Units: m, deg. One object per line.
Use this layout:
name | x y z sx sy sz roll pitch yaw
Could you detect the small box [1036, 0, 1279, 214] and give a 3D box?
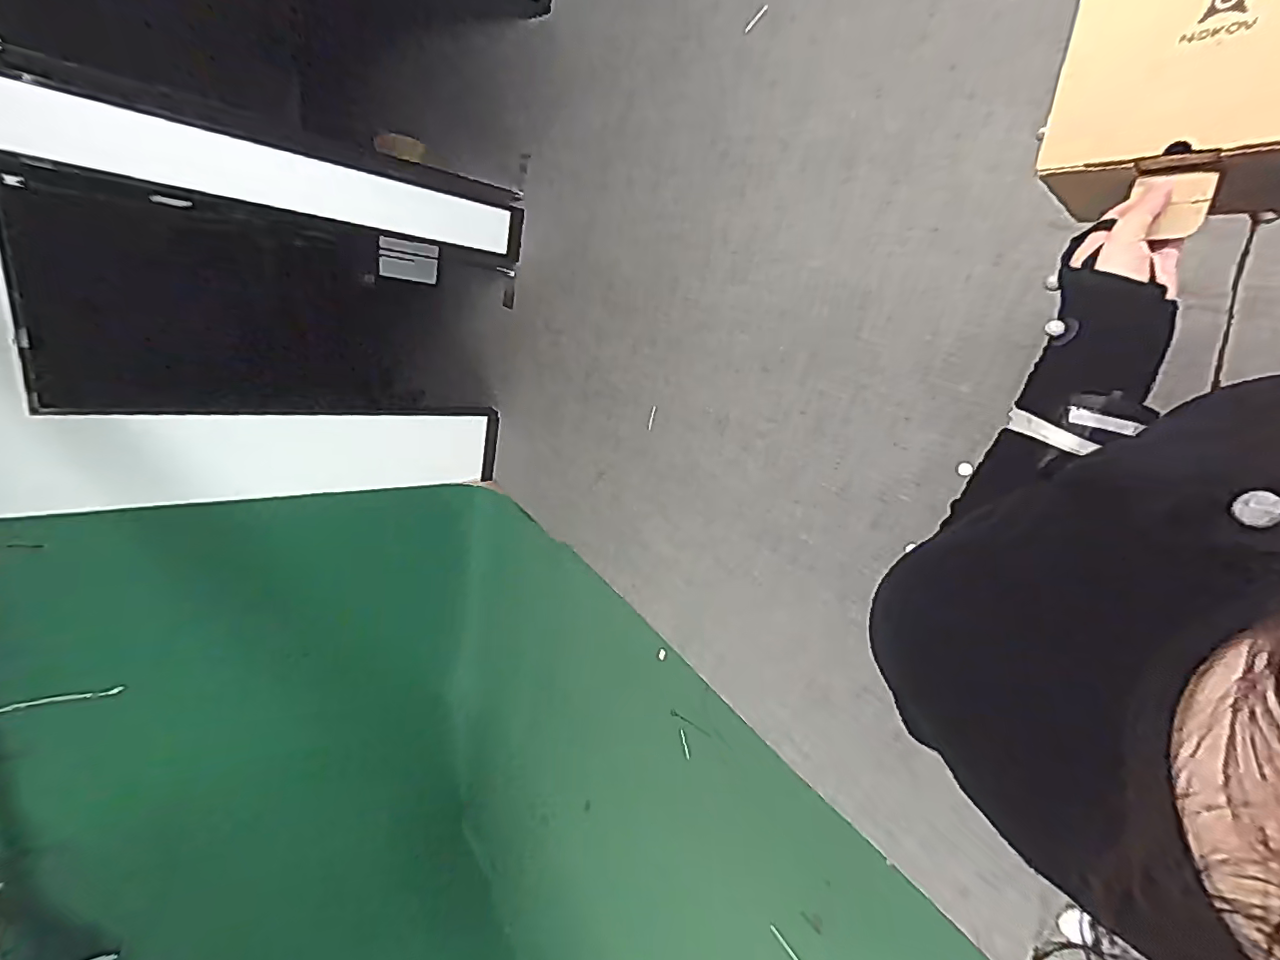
small box | 0.438 -0.320 0.409 0.168 0.176 0.179 21 111 44
